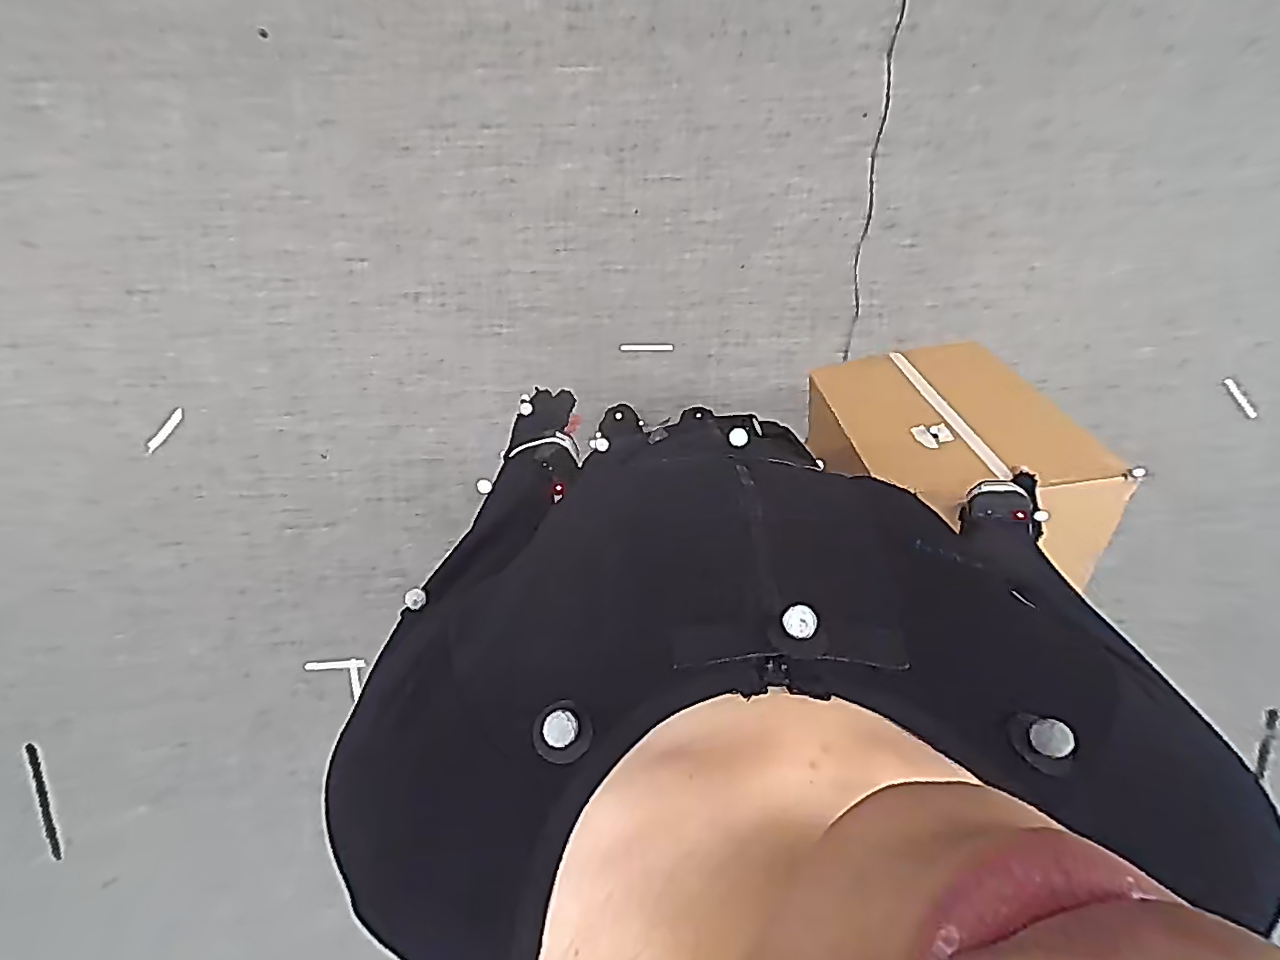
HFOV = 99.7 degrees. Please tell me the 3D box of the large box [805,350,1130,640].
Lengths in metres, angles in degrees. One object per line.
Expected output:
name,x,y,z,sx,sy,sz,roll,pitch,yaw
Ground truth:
large box,0.508,0.015,0.966,0.320,0.408,0.320,-10,129,5
